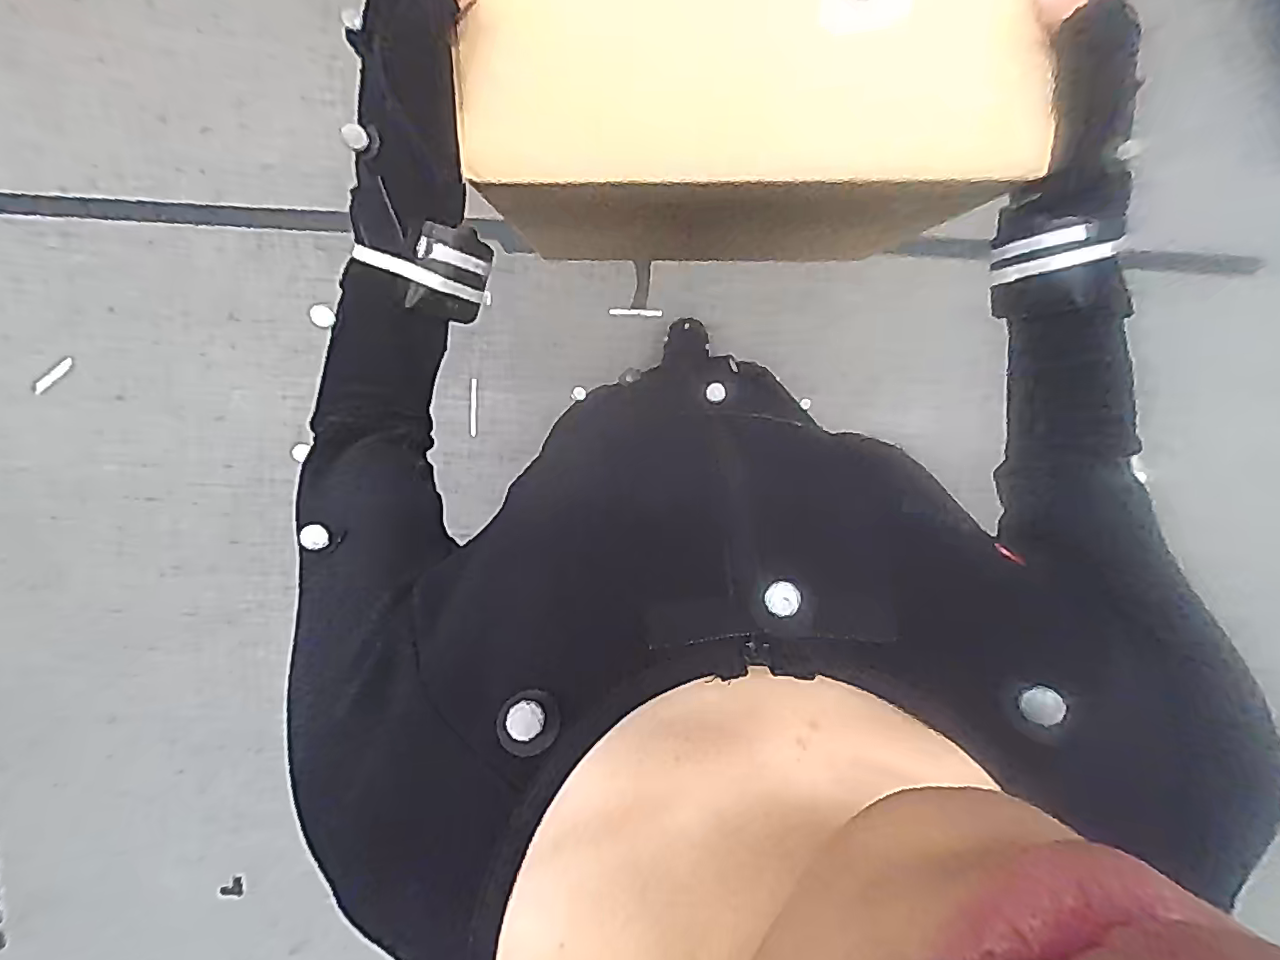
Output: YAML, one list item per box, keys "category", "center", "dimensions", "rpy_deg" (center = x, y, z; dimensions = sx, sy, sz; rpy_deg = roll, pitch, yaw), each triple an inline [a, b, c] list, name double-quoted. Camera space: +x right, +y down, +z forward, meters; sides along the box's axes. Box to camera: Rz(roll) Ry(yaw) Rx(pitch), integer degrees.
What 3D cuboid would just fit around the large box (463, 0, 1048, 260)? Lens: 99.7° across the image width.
- category: "large box"
  center: [0.075, -0.401, 0.501]
  dimensions: [0.408, 0.320, 0.320]
  rpy_deg: [-1, 102, 0]
